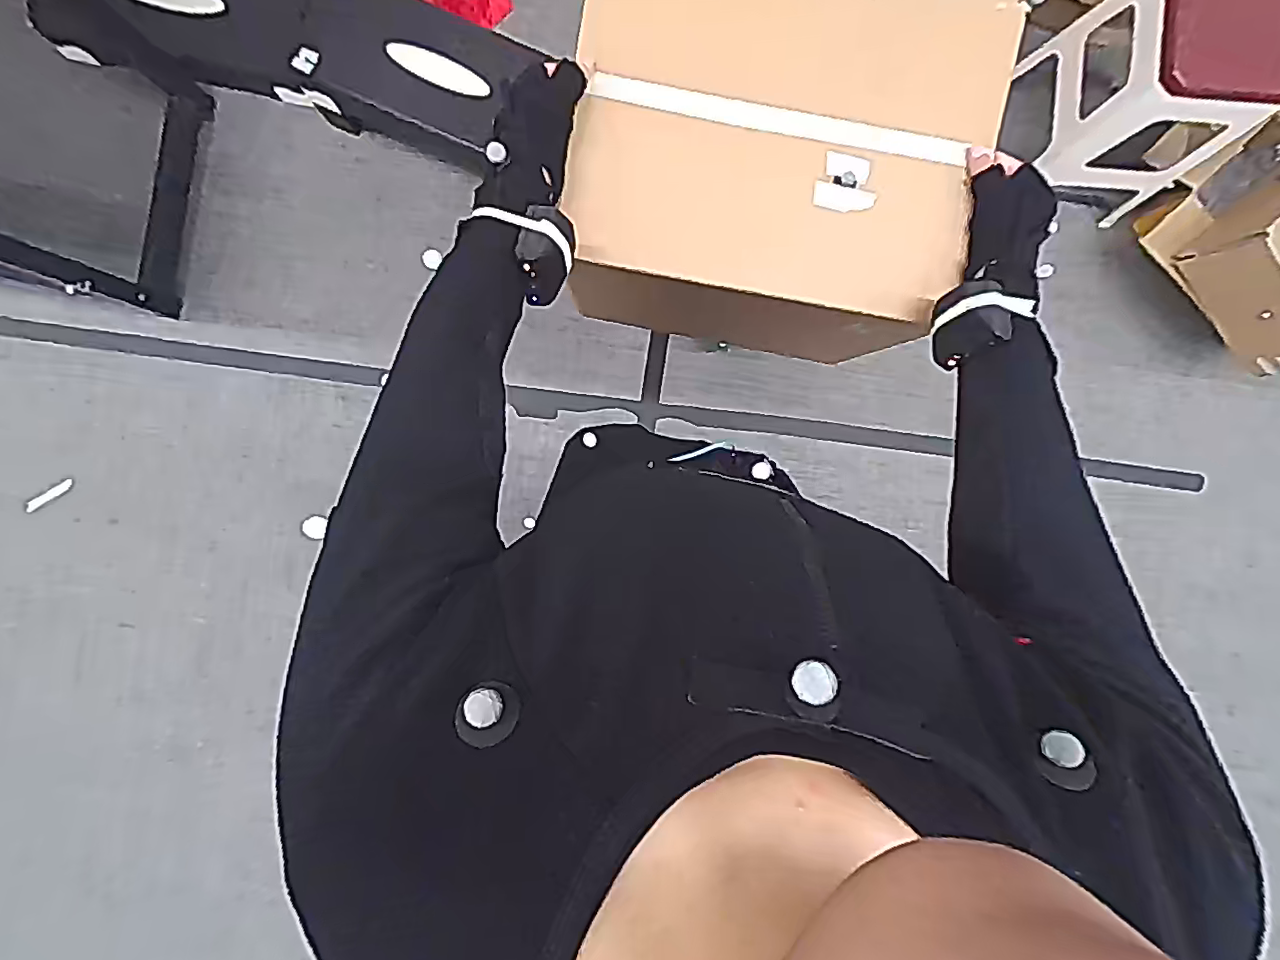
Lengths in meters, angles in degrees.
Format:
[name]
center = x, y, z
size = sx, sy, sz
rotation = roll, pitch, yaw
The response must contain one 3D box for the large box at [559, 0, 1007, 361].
[large box]
center = 0.132, -0.350, 0.674
size = 0.408, 0.320, 0.320
rotation = 10, 96, -3
